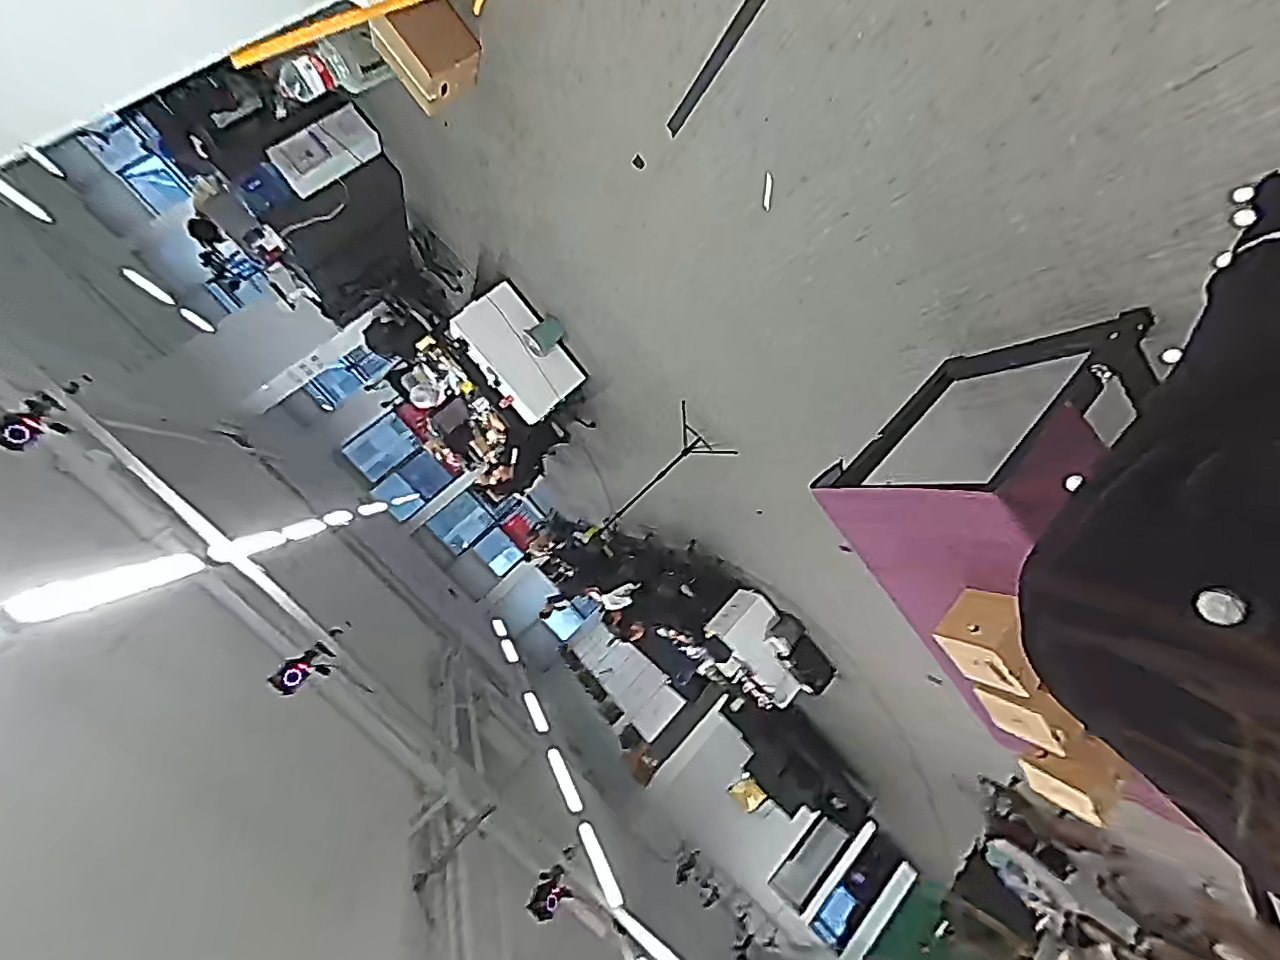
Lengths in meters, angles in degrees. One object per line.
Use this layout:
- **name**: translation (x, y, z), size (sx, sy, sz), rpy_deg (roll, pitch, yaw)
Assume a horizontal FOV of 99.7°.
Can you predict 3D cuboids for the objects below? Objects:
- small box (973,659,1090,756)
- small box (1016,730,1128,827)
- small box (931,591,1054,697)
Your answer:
- **small box**: translation (1.018, 0.562, 1.399), size (0.168, 0.176, 0.179), rpy_deg (52, 164, -17)
- **small box**: translation (1.200, 0.800, 1.502), size (0.168, 0.176, 0.179), rpy_deg (53, 163, -23)
- **small box**: translation (0.882, 0.397, 1.344), size (0.168, 0.176, 0.179), rpy_deg (49, 165, -10)
